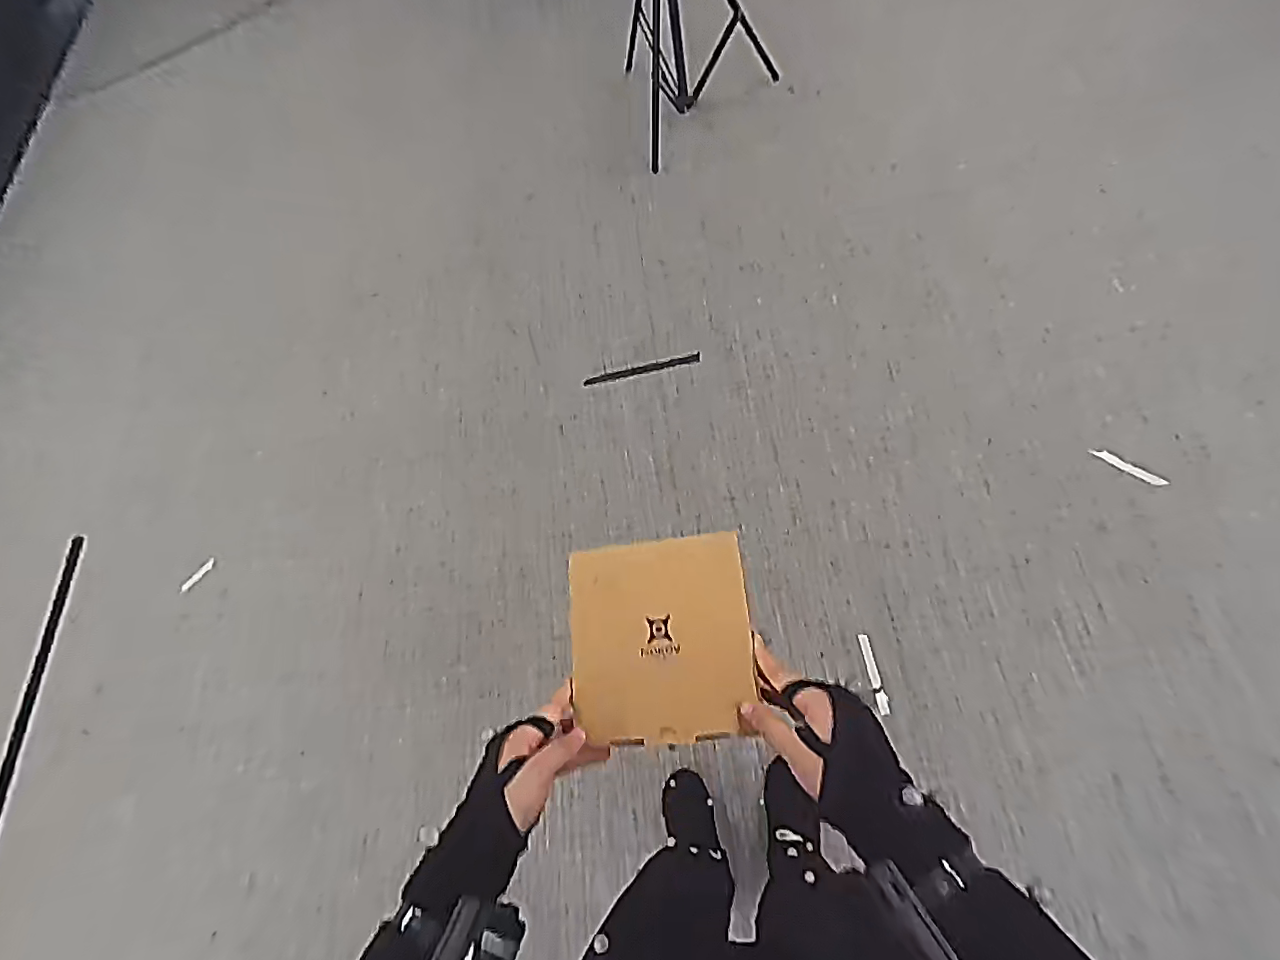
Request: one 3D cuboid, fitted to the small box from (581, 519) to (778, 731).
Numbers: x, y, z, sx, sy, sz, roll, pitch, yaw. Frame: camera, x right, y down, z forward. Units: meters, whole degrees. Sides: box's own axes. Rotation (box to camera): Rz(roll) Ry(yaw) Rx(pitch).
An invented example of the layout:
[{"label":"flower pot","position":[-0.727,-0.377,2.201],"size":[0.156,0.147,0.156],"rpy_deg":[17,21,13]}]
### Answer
[{"label":"small box","position":[0.040,0.156,0.561],"size":[0.168,0.176,0.179],"rpy_deg":[-8,68,7]}]
